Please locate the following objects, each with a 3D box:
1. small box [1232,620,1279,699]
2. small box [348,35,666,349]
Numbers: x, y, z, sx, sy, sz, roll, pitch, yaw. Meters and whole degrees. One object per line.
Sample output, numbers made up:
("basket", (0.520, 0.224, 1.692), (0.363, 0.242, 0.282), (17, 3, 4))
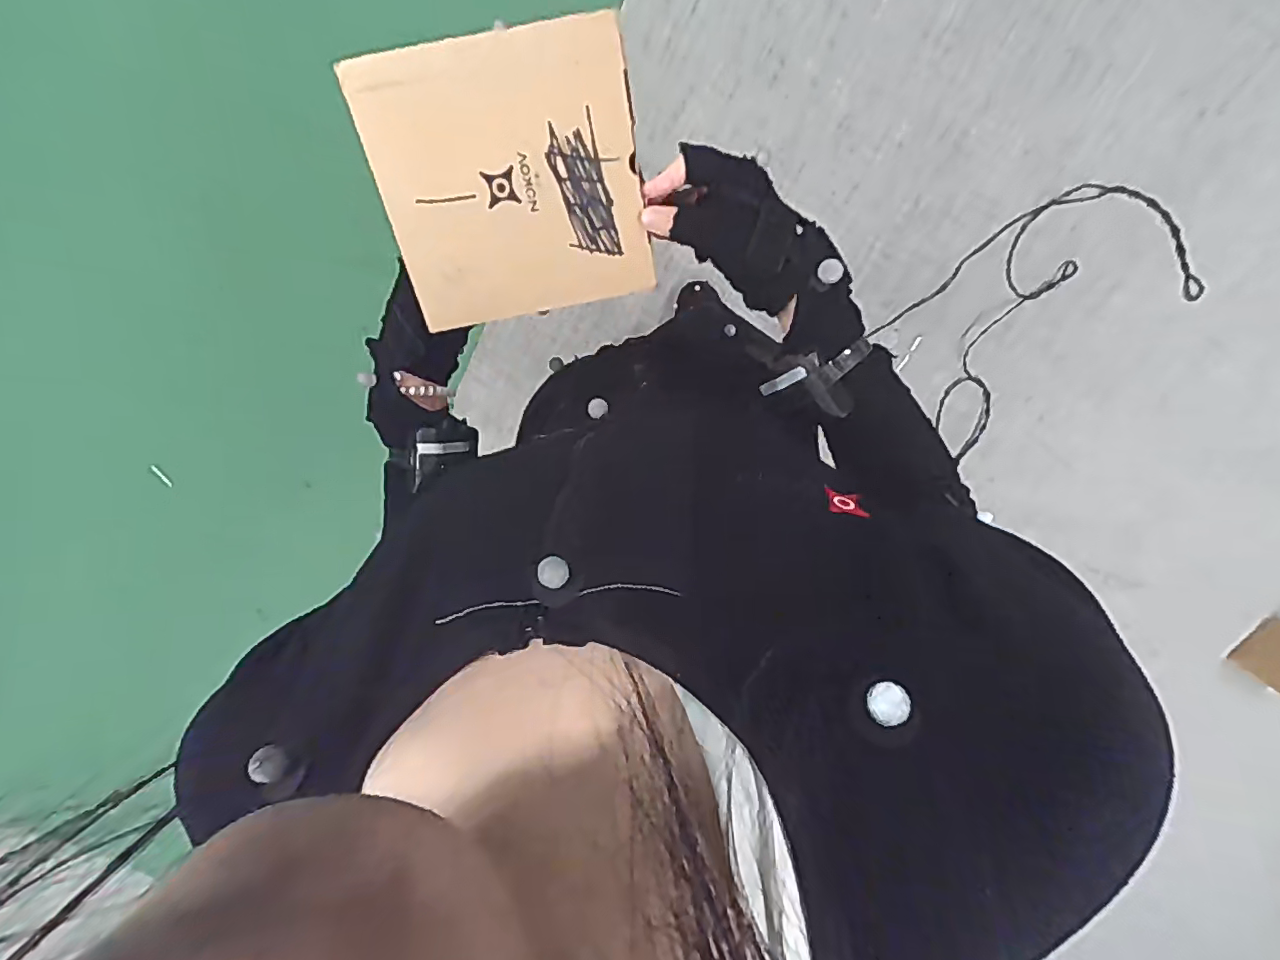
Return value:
("small box", (1.840, 0.529, 1.511), (0.168, 0.176, 0.179), (26, 107, -5))
("small box", (-0.087, -0.220, 0.430), (0.179, 0.176, 0.168), (-12, 119, 0))
